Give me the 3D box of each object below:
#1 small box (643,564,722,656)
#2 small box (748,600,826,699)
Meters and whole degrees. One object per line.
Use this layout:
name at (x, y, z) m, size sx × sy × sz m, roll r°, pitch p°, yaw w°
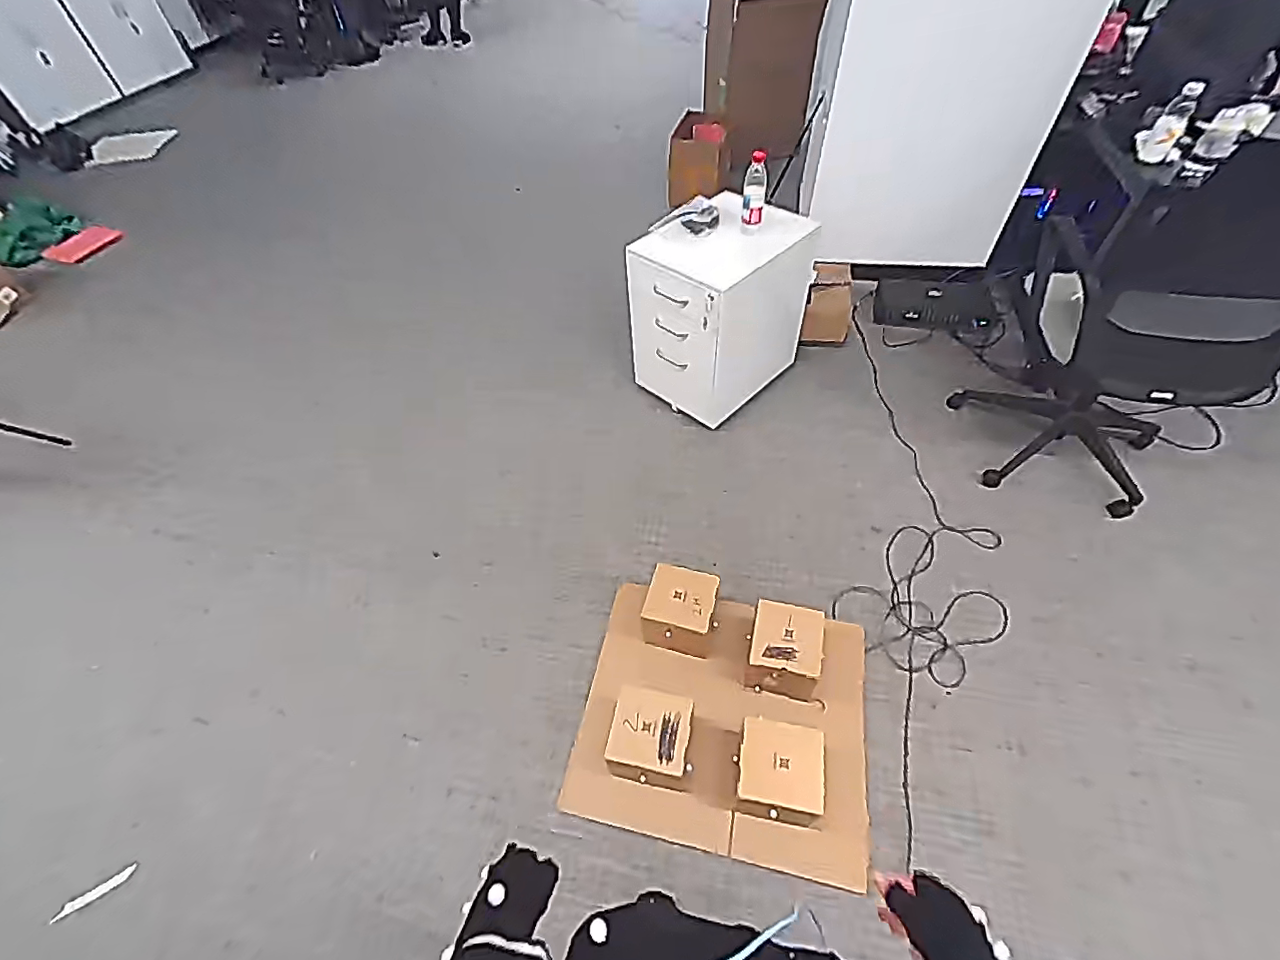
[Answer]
small box at (0.118, 0.357, 1.468) m, size 0.179 × 0.176 × 0.168 m, roll 12°, pitch 54°, yaw 14°
small box at (0.373, 0.437, 1.386) m, size 0.168 × 0.176 × 0.179 m, roll 9°, pitch 52°, yaw 14°
